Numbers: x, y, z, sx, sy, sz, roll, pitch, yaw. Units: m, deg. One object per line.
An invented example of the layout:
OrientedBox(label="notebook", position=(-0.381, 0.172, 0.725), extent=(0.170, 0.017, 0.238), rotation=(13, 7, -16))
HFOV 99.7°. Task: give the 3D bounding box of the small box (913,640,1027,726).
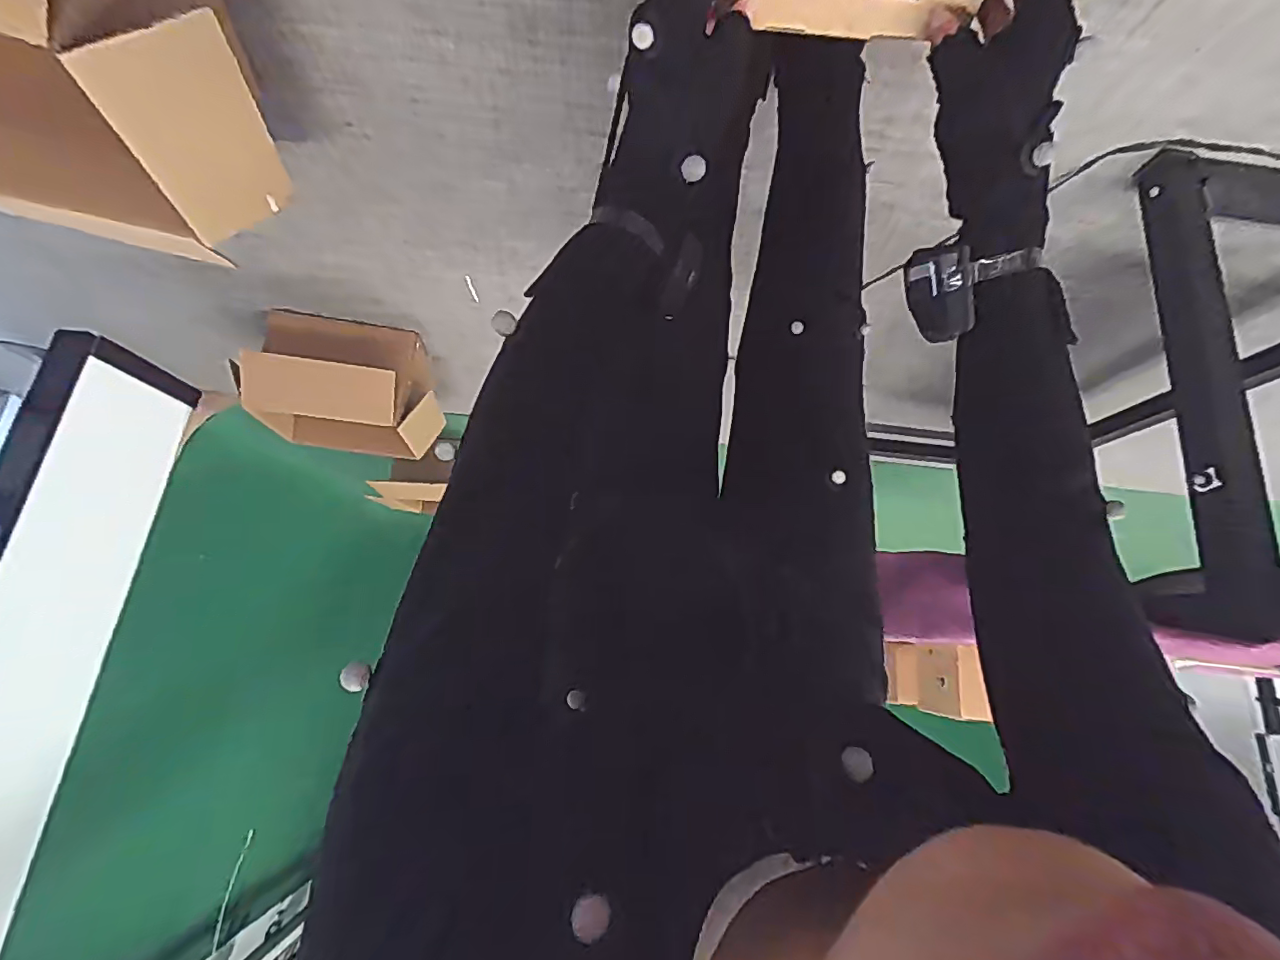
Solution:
OrientedBox(label="small box", position=(0.785, 0.483, 1.306), extent=(0.179, 0.176, 0.168), rotation=(9, 163, -5))
